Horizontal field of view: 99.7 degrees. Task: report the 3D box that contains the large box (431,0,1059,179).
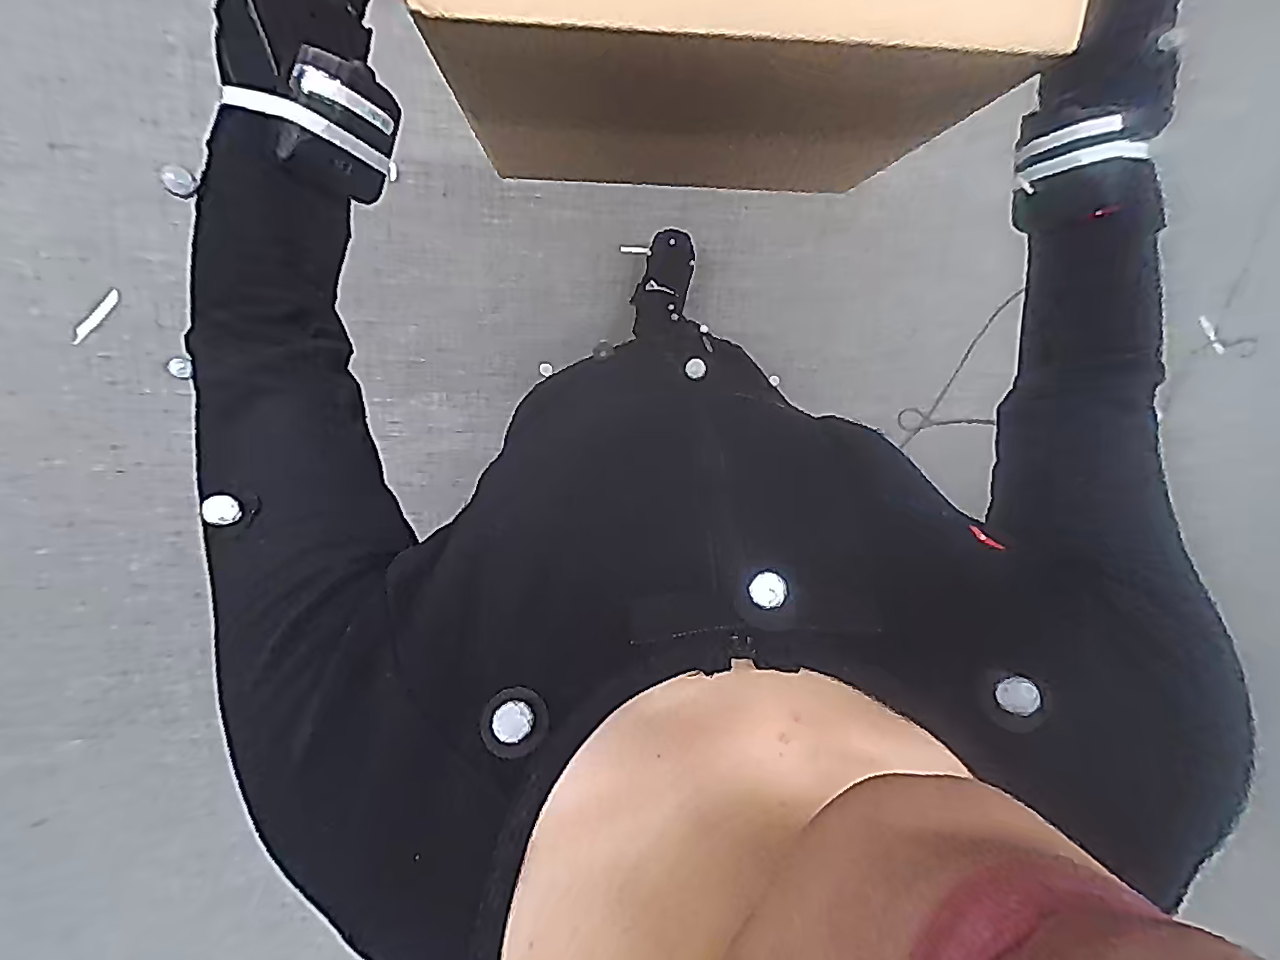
[{"bbox_3d":[0.055,-0.462,0.442,0.408,0.320,0.320,-1,104,-6],"label":"large box"}]
